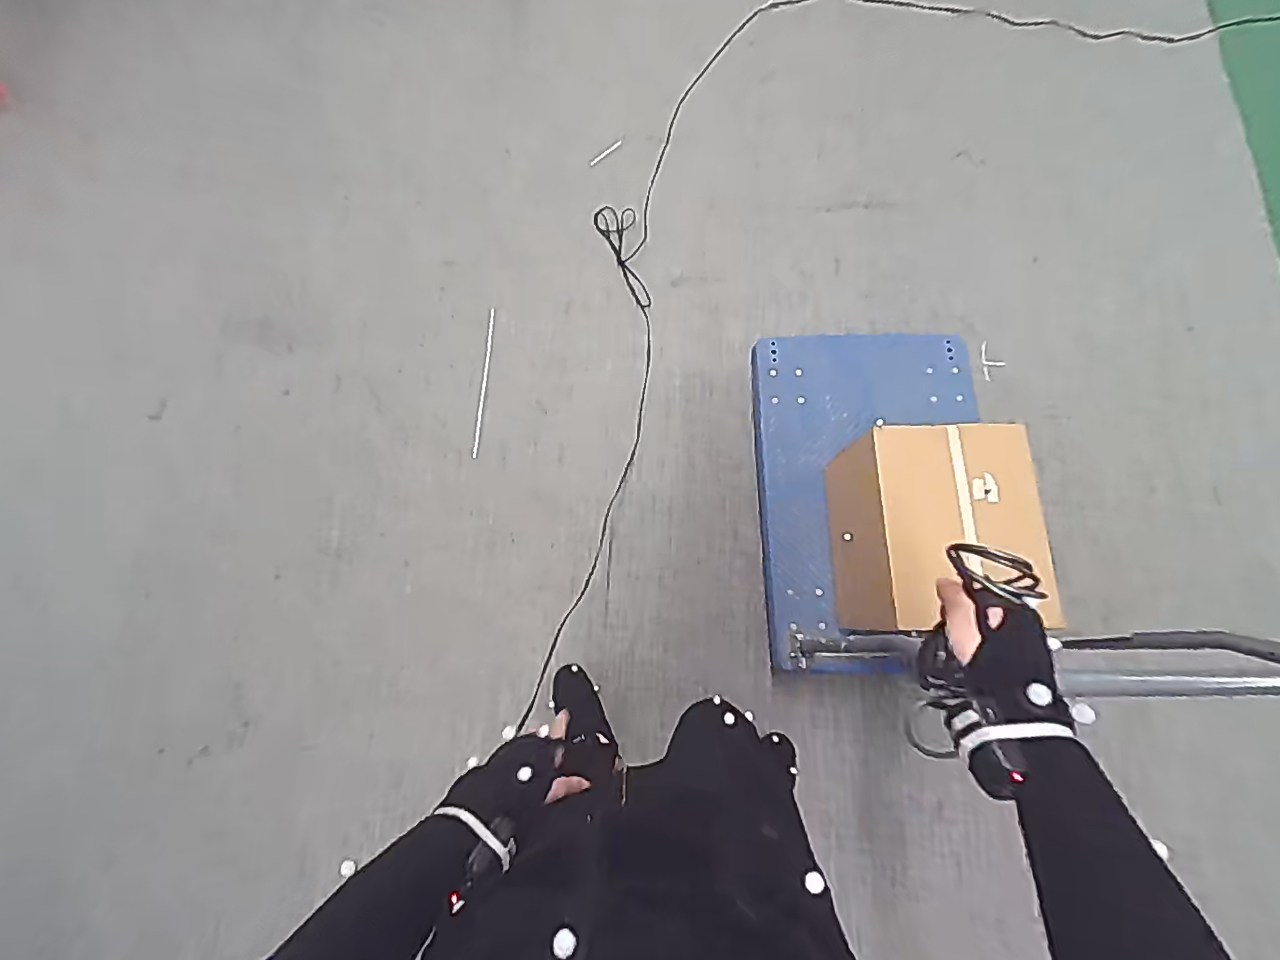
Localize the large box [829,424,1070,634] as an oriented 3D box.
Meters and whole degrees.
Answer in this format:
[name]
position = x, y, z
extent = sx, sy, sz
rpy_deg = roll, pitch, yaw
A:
[large box]
position = 0.629, 0.123, 1.178
extent = 0.320, 0.320, 0.408
rpy_deg = 0, 75, -1
